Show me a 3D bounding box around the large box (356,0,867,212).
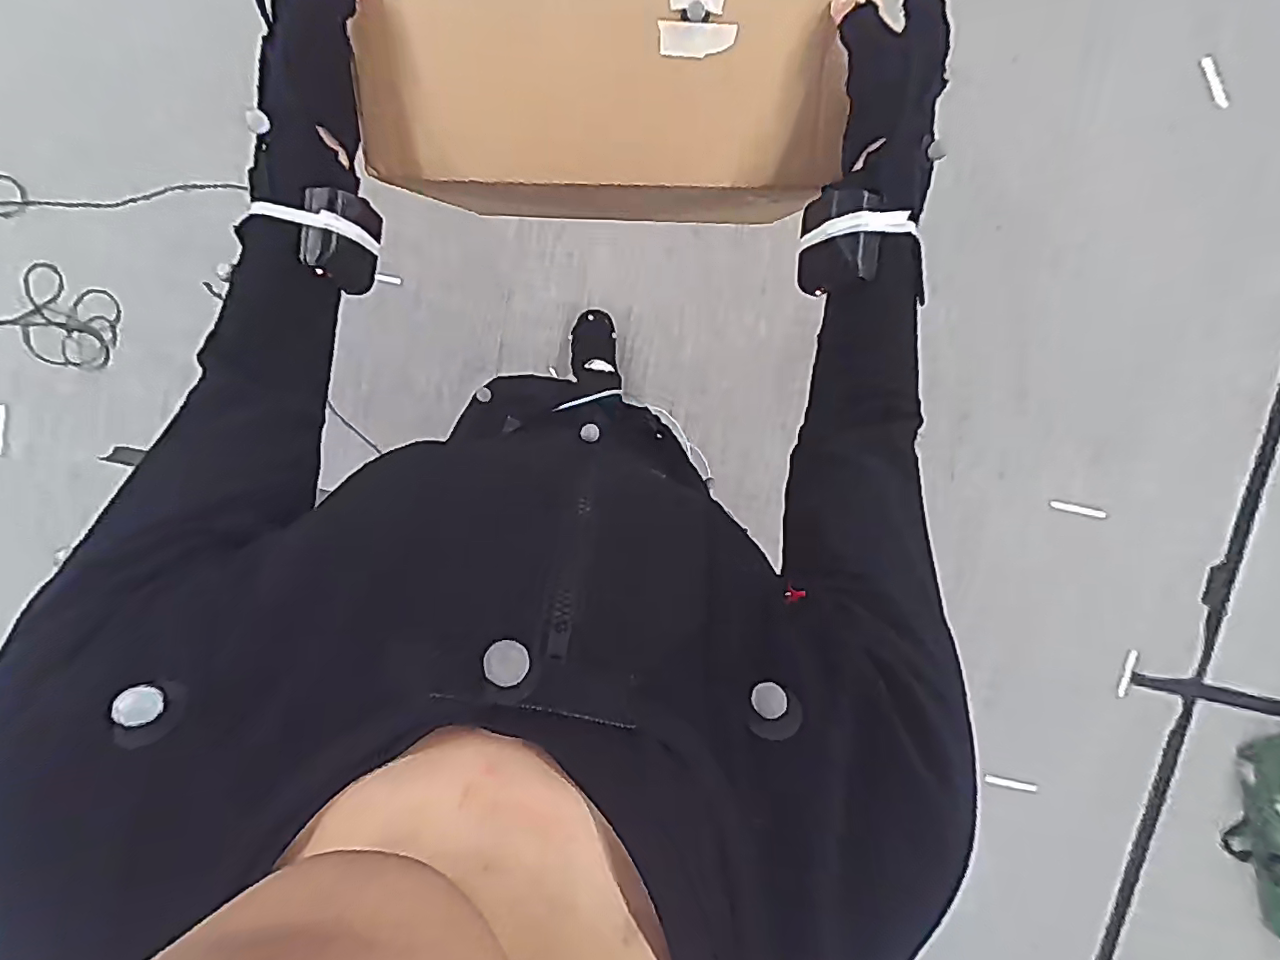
[{"bbox_3d":[-0.022,-0.458,0.545,0.408,0.320,0.320,1,111,0],"label":"large box"}]
